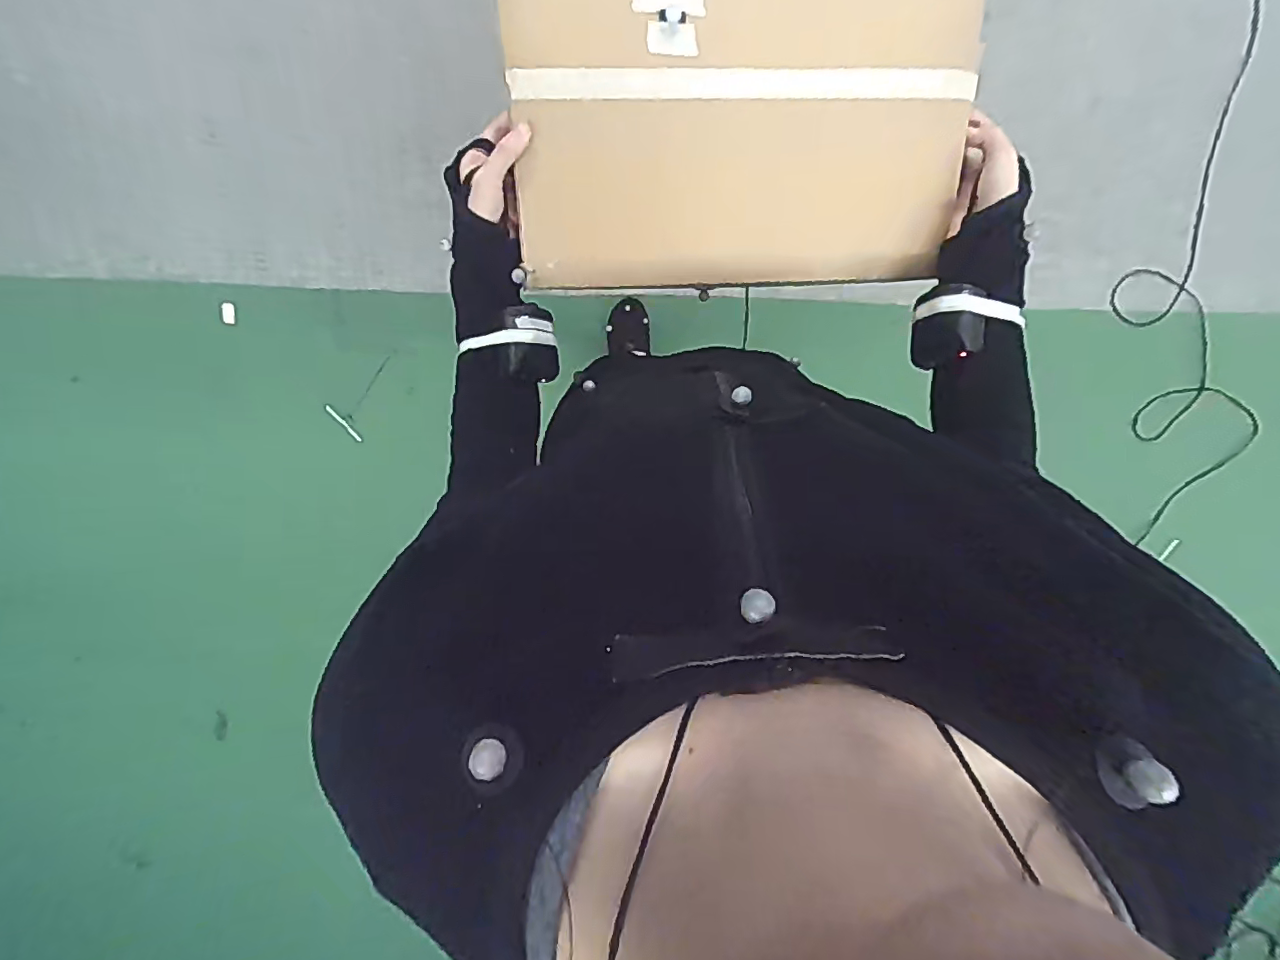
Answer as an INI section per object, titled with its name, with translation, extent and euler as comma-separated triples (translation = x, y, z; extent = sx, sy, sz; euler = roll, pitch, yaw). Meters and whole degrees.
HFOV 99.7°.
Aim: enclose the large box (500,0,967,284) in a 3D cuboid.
[large box]
translation = 0.074, -0.394, 0.614
extent = 0.408, 0.320, 0.320
euler = -2, 109, -4
